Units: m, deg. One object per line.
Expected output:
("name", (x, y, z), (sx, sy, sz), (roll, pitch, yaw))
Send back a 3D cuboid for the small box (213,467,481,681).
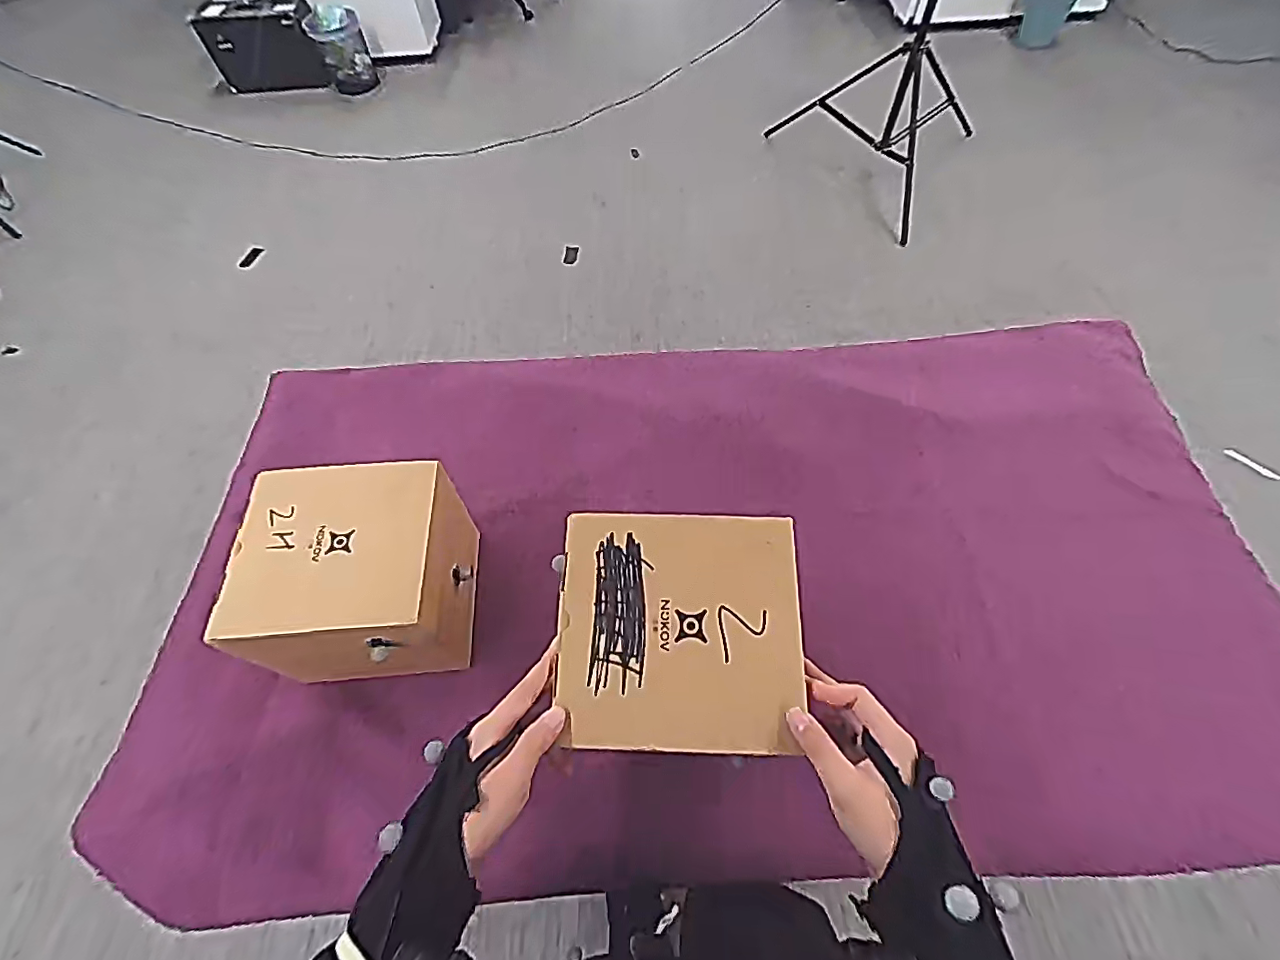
("small box", (-0.273, 0.102, 0.559), (0.179, 0.176, 0.168), (-4, 58, -2))
